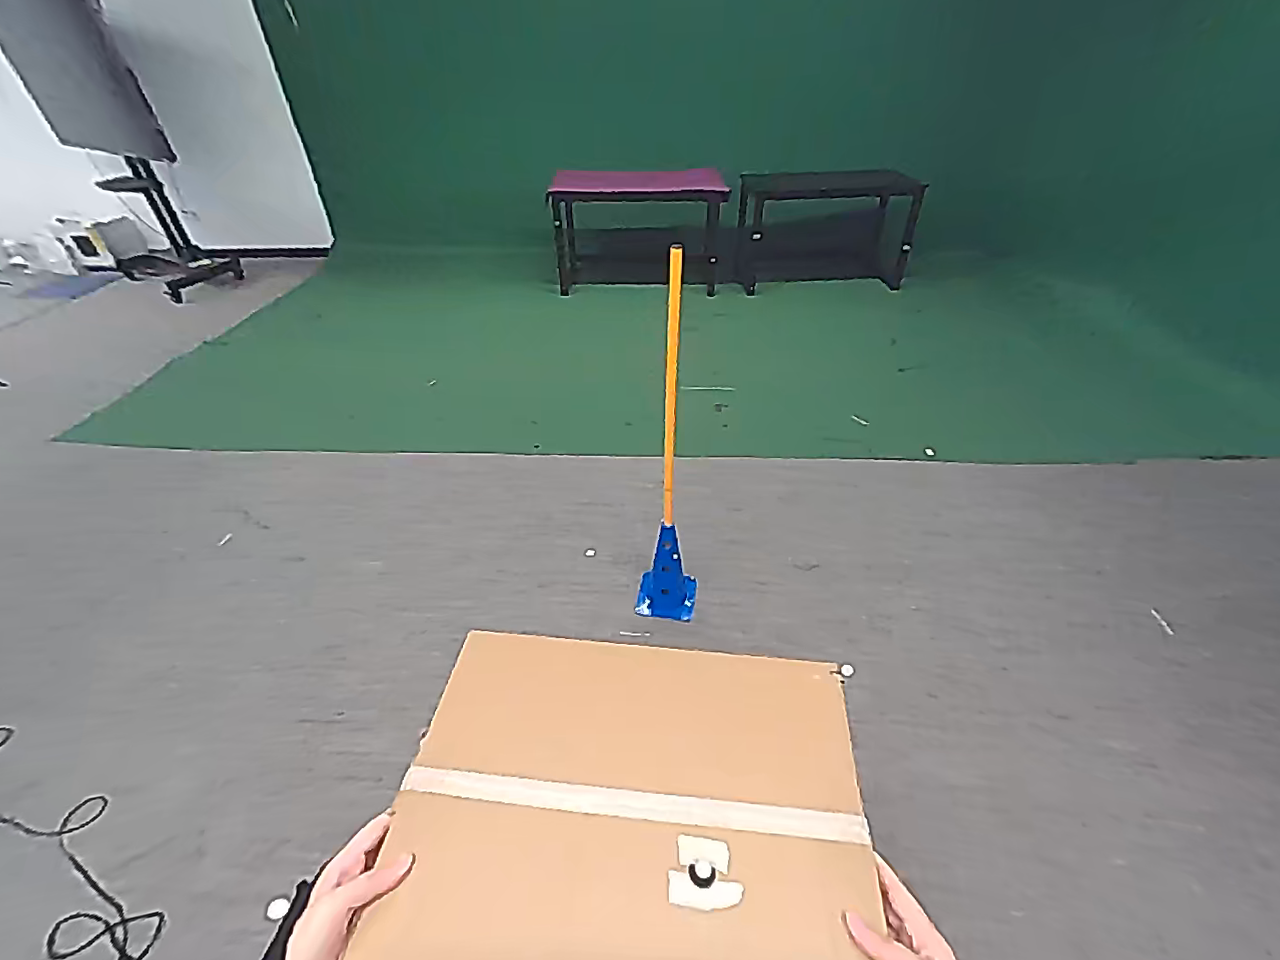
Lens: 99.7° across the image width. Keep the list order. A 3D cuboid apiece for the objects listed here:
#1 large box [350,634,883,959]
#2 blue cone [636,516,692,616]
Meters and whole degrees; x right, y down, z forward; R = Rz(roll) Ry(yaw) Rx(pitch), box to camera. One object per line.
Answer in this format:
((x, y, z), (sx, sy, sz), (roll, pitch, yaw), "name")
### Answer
((-0.008, 0.398, 0.581), (0.408, 0.320, 0.320), (4, 42, 5), "large box")
((0.086, 0.279, 1.839), (0.193, 0.380, 0.192), (7, 39, 9), "blue cone")
